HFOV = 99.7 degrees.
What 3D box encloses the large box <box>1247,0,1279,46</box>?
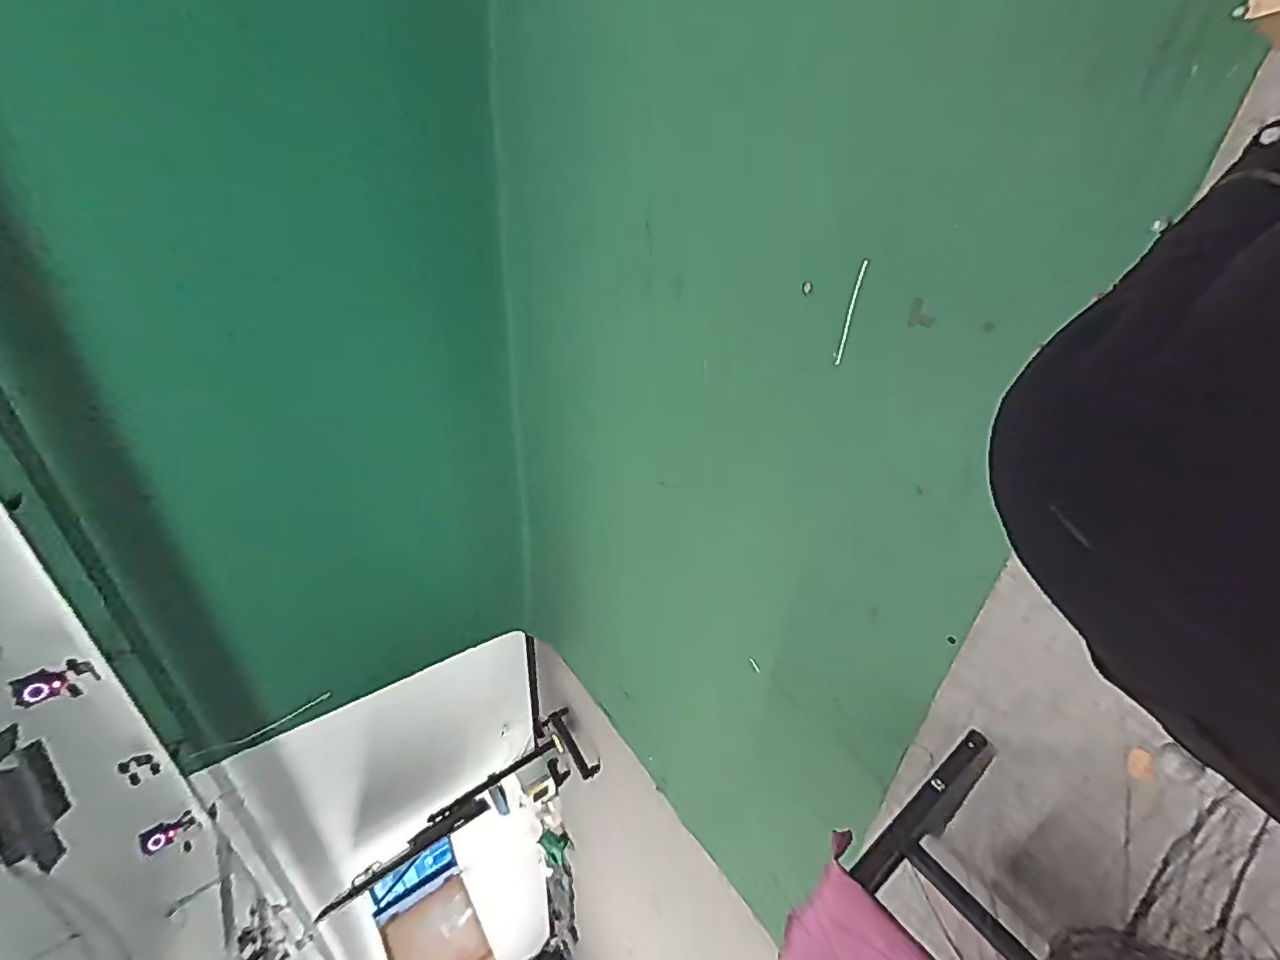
[{"bbox_3d":[1.065,-0.771,0.623,0.408,0.320,0.320,21,122,52],"label":"large box"}]
